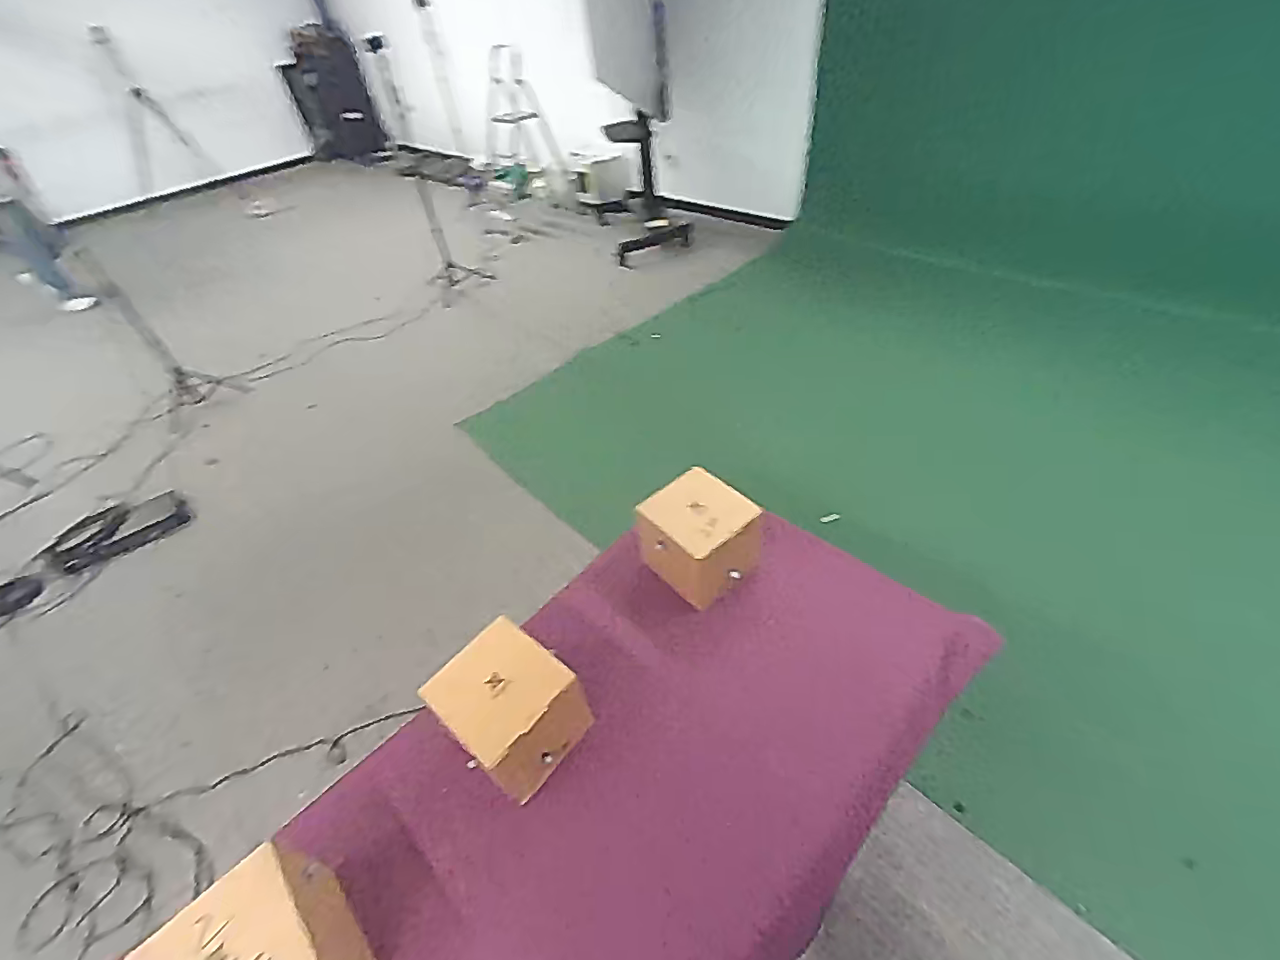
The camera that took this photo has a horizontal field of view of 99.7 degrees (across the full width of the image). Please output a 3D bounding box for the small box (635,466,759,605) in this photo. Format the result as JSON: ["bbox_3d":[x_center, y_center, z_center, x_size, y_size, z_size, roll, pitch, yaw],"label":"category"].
[{"bbox_3d":[0.111,0.110,1.059,0.168,0.176,0.179,-34,51,-24],"label":"small box"}]

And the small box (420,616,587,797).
[{"bbox_3d":[-0.205,0.358,0.851,0.179,0.176,0.168,28,54,29],"label":"small box"}]
